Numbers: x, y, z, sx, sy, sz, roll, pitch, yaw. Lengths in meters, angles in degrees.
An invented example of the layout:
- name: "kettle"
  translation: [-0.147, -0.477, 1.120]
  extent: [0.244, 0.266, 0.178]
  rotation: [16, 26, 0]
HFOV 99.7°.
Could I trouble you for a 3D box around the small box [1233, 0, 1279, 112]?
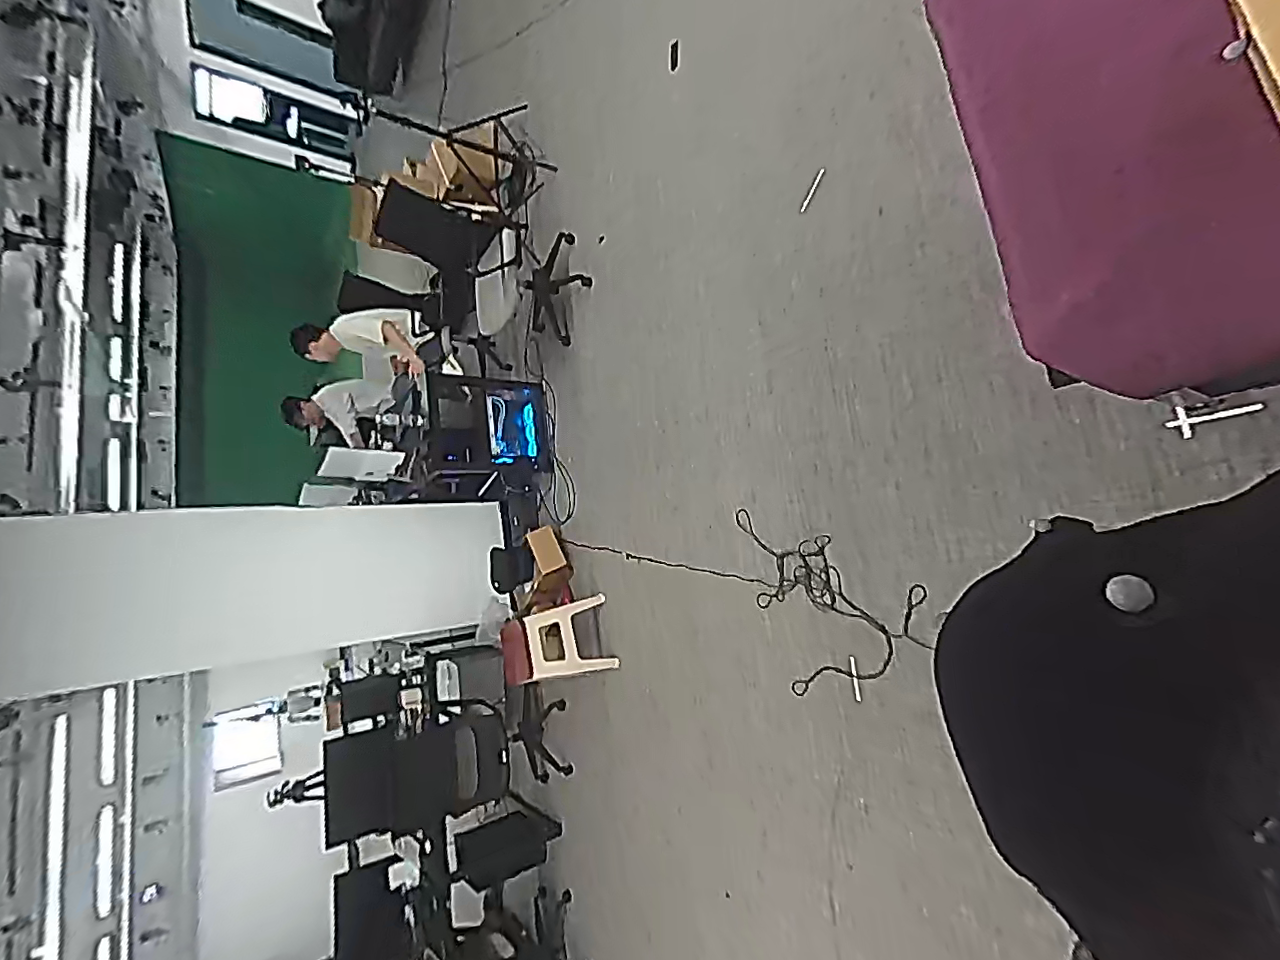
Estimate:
- name: "small box"
  translation: [0.606, -0.399, 0.417]
  extent: [0.179, 0.176, 0.168]
  rotation: [-24, 72, 51]
